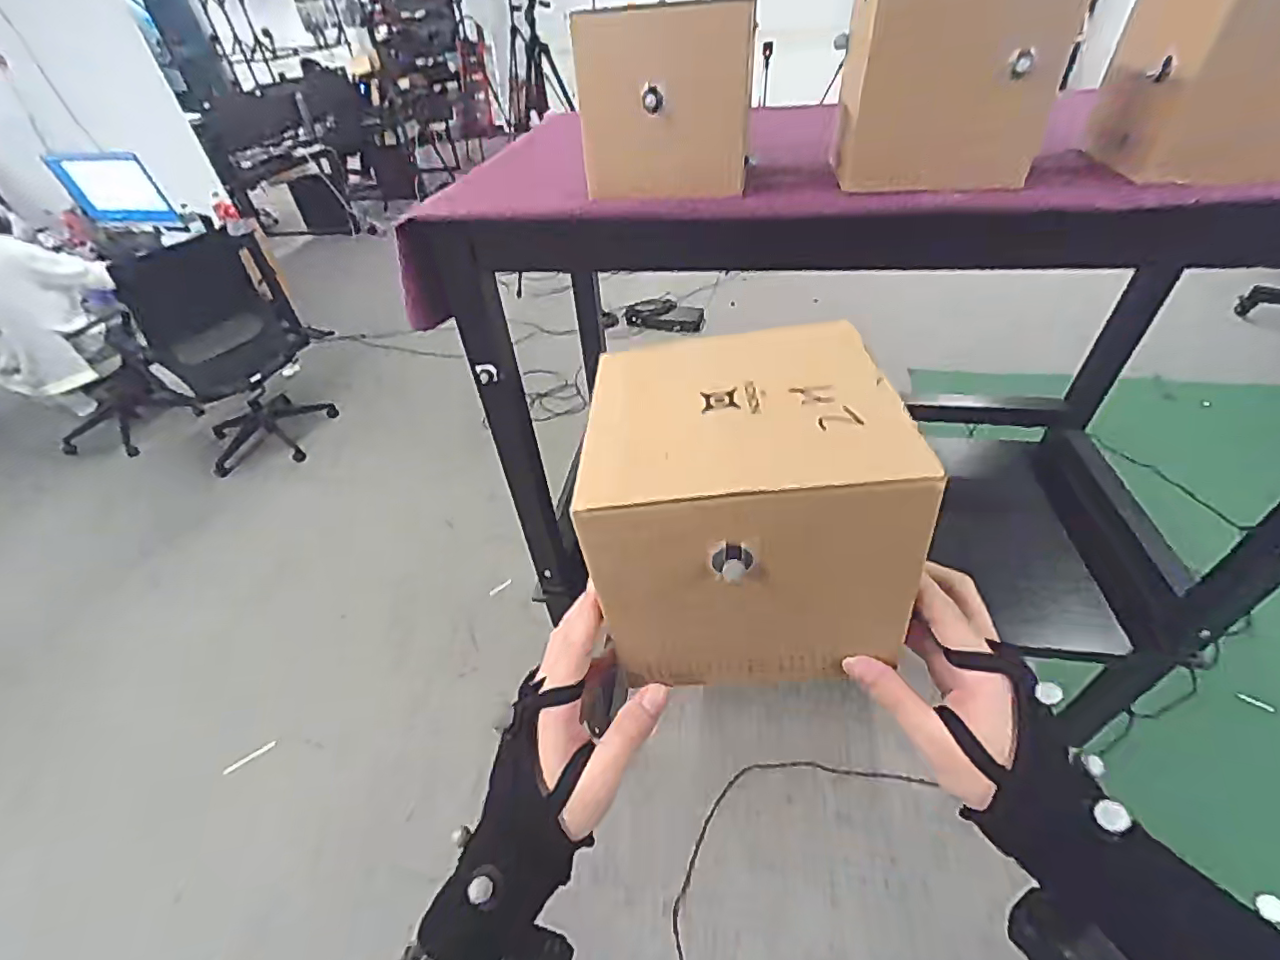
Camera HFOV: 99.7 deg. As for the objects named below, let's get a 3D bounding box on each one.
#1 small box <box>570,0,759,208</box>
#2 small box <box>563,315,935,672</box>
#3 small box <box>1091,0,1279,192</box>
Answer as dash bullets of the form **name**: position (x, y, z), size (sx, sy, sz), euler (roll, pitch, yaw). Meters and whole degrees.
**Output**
- **small box**: position (0.038, -0.420, 0.611), size (0.179, 0.176, 0.168), euler (4, 42, 11)
- **small box**: position (0.064, 0.012, 0.361), size (0.179, 0.176, 0.168), euler (-5, 40, 8)
- **small box**: position (0.582, -0.388, 0.519), size (0.179, 0.176, 0.168), euler (5, 45, 11)
